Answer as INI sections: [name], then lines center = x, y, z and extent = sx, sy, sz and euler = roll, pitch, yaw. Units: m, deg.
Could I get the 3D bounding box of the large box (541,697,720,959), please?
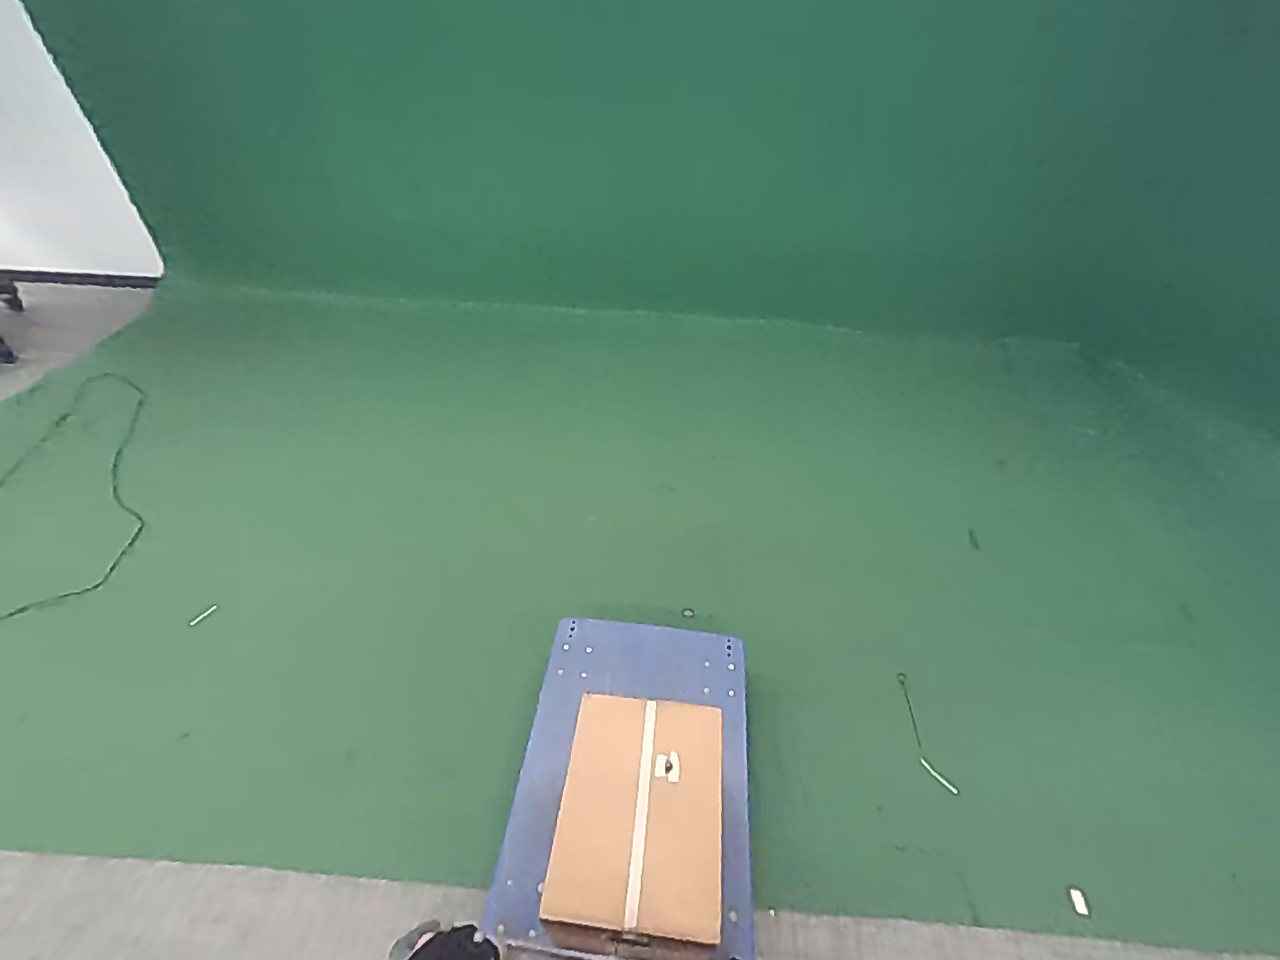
[large box]
center = -0.005, 0.740, 1.156
extent = 0.320, 0.320, 0.408
euler = 6, 42, 3
